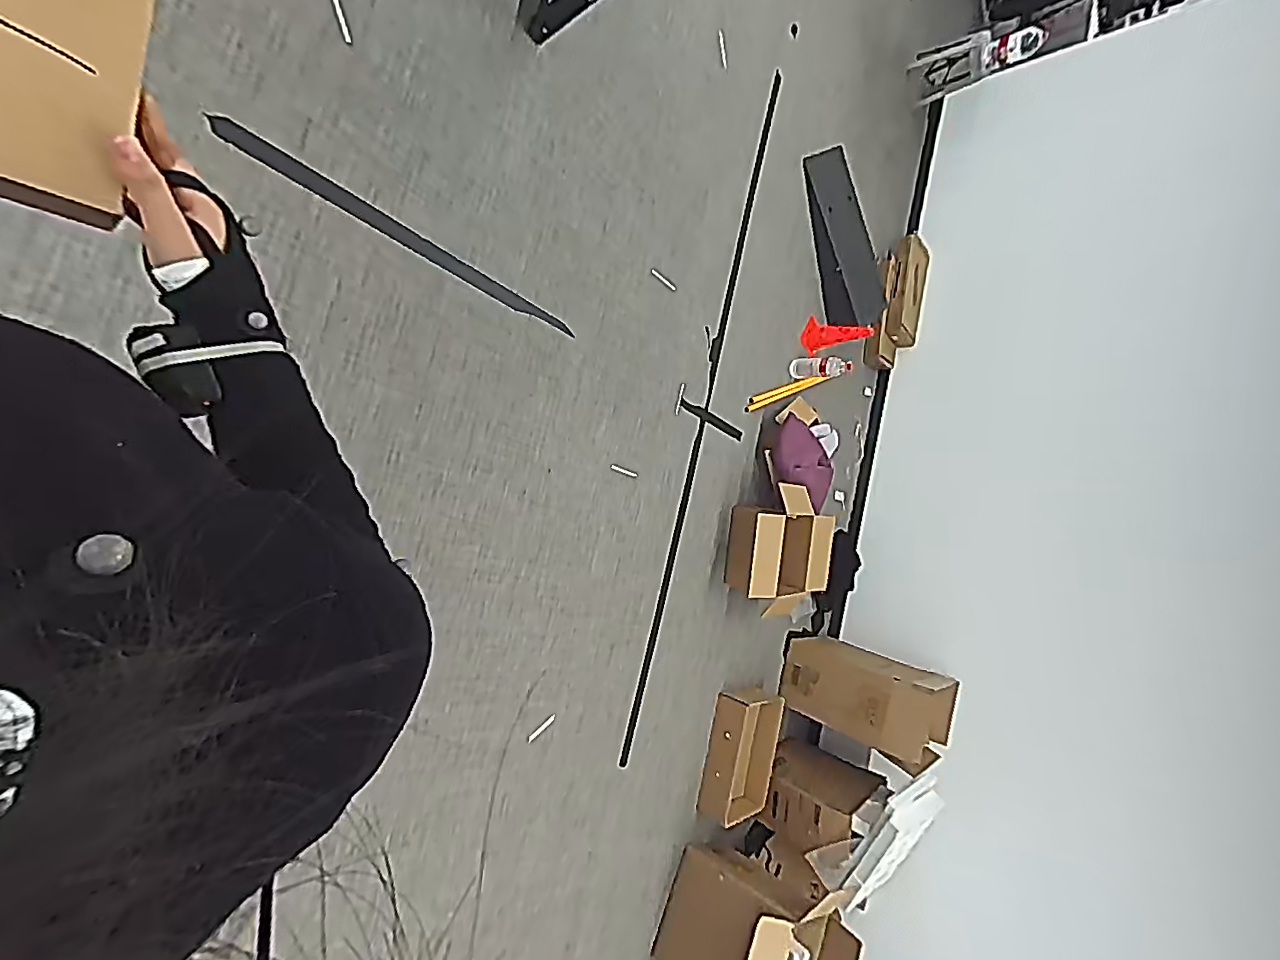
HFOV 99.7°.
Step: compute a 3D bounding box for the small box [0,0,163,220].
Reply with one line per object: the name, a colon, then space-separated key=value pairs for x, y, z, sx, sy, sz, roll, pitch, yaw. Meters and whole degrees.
small box: x=-0.440 y=-0.286 z=0.348 sx=0.179 sy=0.176 sz=0.168 roll=8 pitch=98 yaw=-48
